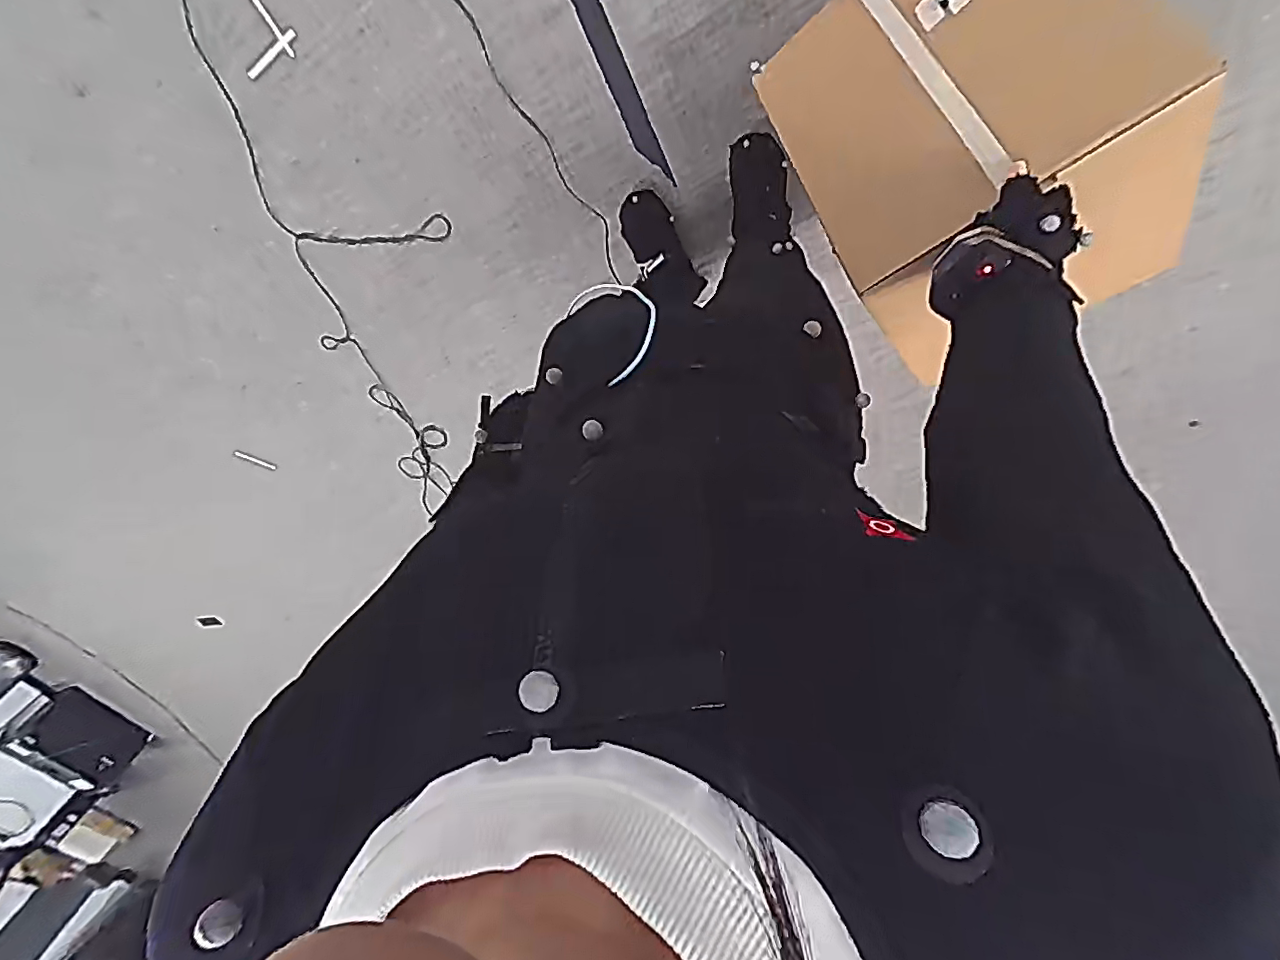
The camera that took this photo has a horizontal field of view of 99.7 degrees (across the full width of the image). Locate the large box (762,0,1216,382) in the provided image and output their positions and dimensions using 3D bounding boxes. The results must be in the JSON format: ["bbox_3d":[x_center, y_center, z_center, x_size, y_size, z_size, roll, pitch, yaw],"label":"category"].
[{"bbox_3d":[0.422,-0.410,0.721,0.320,0.408,0.320,-28,151,30],"label":"large box"}]
